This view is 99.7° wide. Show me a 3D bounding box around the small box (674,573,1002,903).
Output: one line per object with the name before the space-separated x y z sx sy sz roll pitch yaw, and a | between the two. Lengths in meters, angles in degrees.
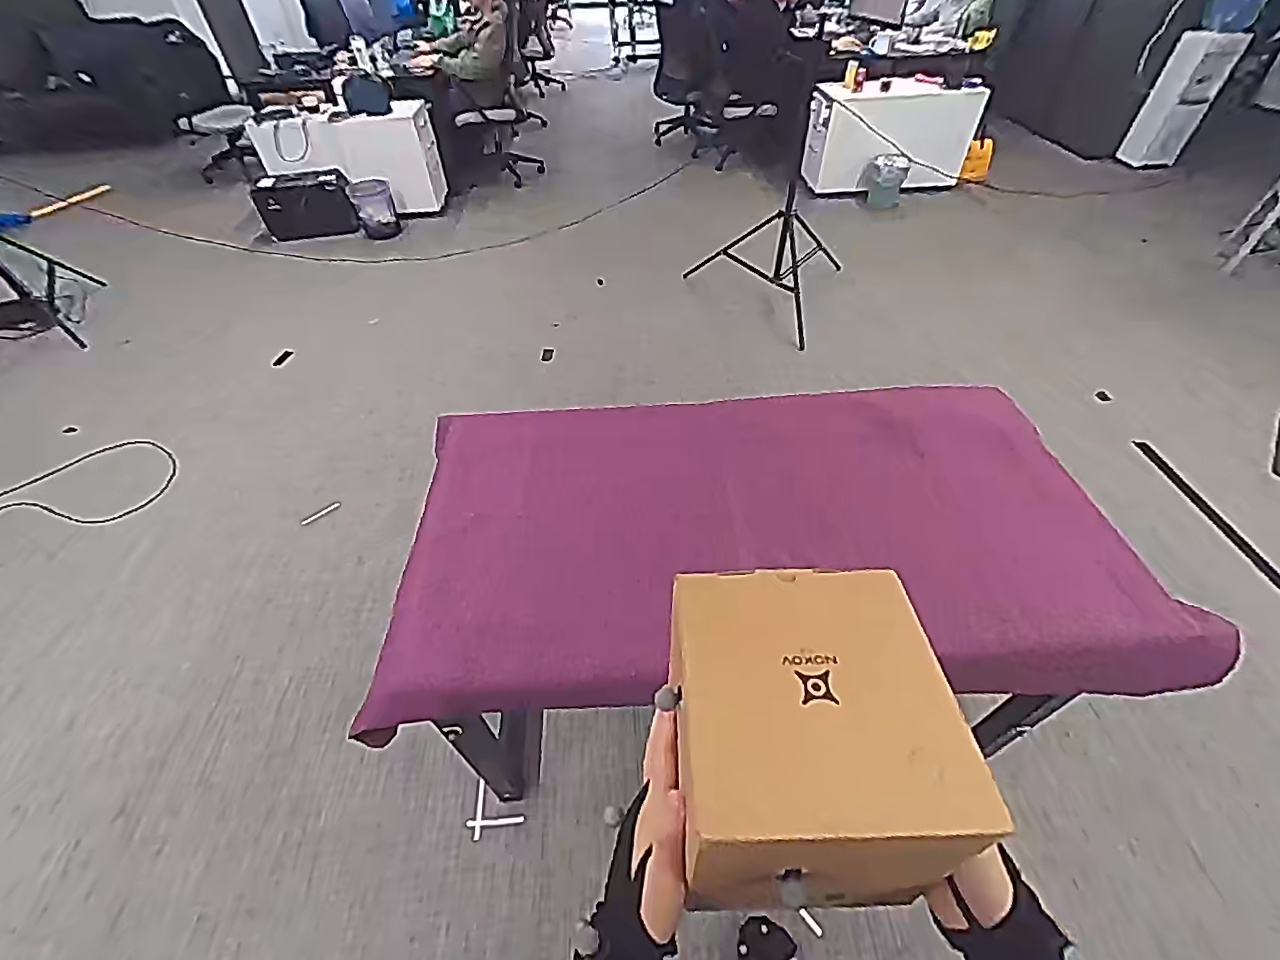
small box | 0.113 0.190 0.399 0.168 0.176 0.179 -1 40 -1
